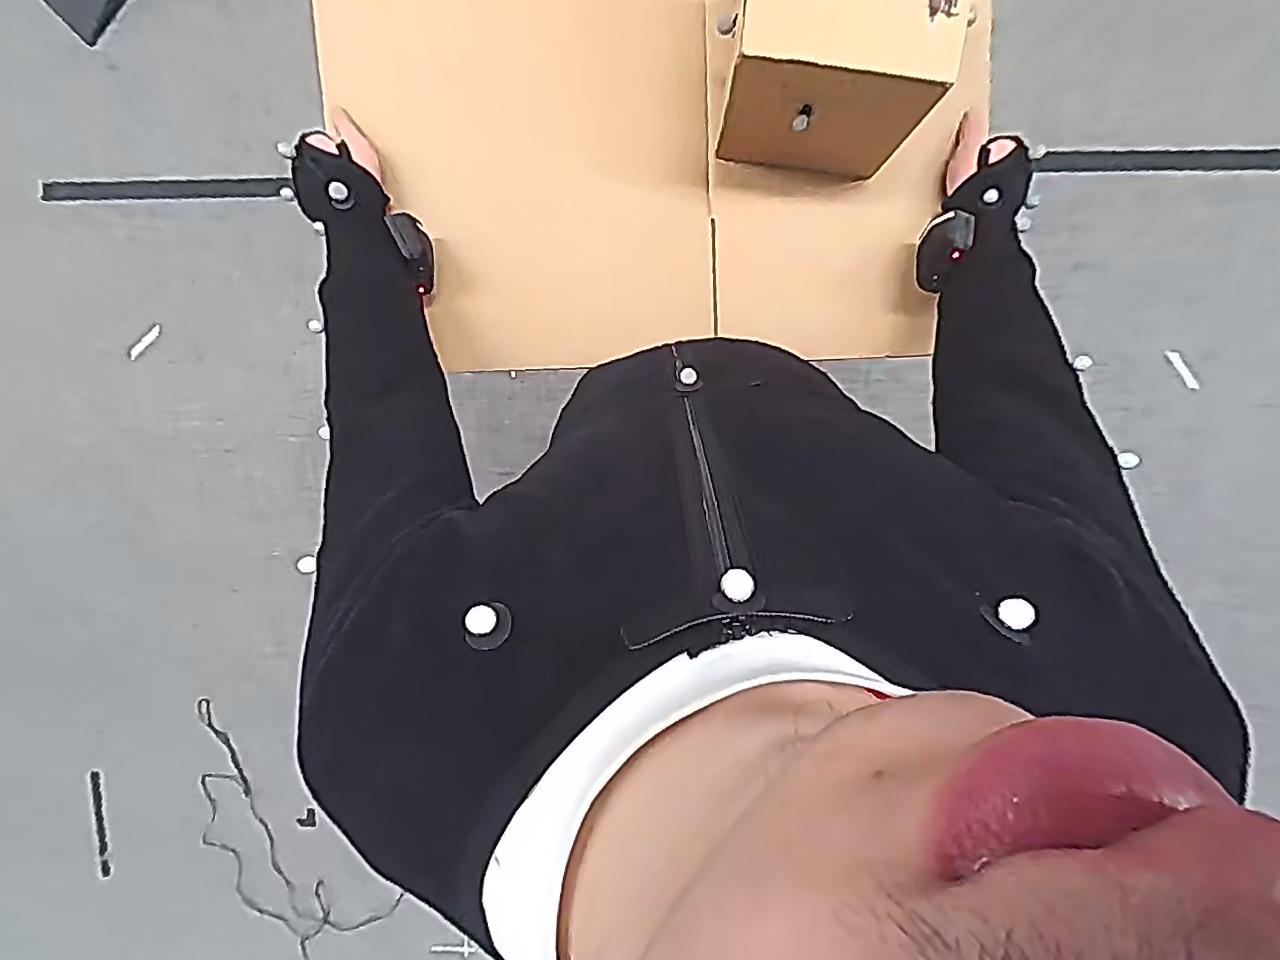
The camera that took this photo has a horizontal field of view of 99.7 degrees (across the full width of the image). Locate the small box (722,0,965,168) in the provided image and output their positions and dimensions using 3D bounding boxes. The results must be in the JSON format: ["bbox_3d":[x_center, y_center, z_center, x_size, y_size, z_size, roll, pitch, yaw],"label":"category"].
[{"bbox_3d":[0.178,-0.419,0.504,0.179,0.176,0.168,8,96,2],"label":"small box"}]
